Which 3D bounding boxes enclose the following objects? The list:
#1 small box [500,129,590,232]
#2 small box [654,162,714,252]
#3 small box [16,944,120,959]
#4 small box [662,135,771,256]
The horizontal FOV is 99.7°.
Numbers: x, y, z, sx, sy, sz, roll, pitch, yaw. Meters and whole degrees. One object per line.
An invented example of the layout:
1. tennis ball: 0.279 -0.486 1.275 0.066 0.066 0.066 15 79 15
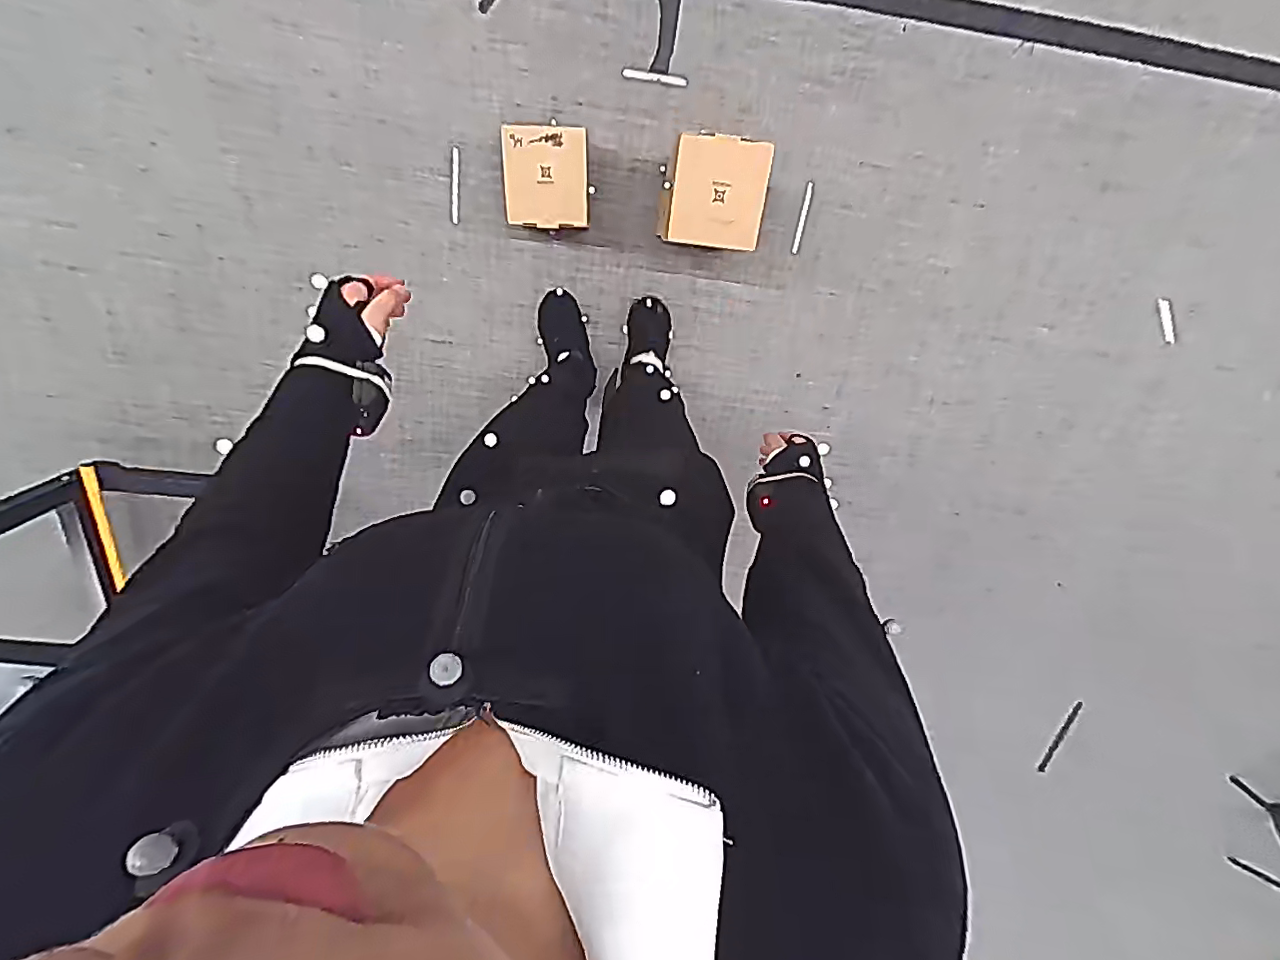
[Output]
1. small box: -0.194 -0.629 1.151 0.168 0.176 0.179 1 115 -3
2. small box: 0.133 -0.599 1.180 0.179 0.176 0.168 9 114 -8
3. small box: -1.178 1.056 1.064 0.179 0.176 0.168 7 114 -6
4. small box: 0.135 -0.534 1.032 0.168 0.176 0.179 5 115 -4
